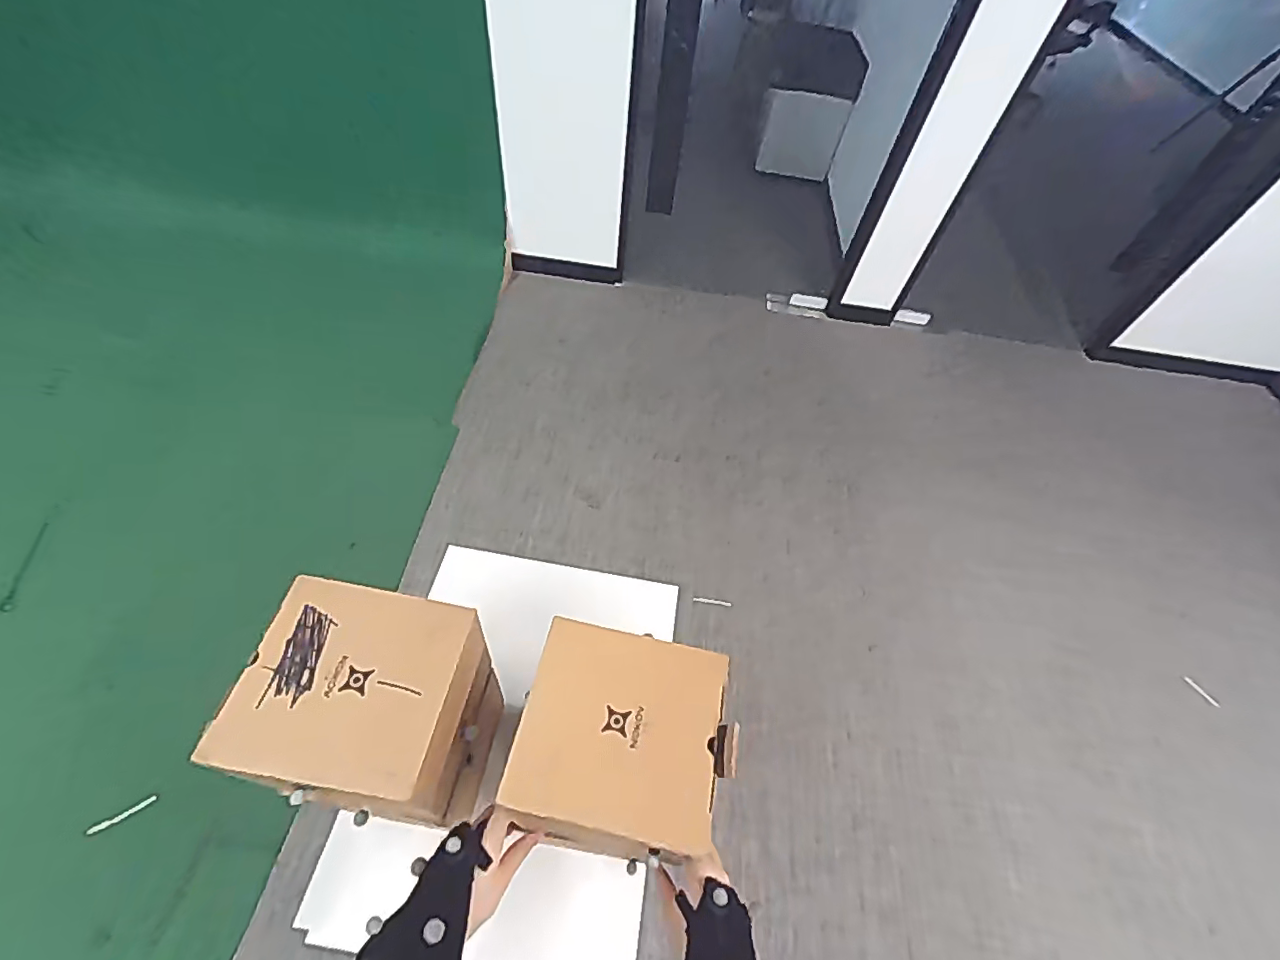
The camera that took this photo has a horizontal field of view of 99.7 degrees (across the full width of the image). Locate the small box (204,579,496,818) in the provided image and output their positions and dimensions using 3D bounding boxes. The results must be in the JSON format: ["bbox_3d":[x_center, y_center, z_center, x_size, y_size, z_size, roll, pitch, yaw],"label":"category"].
[{"bbox_3d":[-0.255,0.221,0.533,0.179,0.176,0.168,11,54,-1],"label":"small box"}]

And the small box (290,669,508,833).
[{"bbox_3d":[-0.274,0.321,0.663,0.179,0.176,0.168,12,54,0],"label":"small box"}]

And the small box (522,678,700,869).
[{"bbox_3d":[-0.031,0.364,0.664,0.179,0.176,0.168,9,52,2],"label":"small box"}]
